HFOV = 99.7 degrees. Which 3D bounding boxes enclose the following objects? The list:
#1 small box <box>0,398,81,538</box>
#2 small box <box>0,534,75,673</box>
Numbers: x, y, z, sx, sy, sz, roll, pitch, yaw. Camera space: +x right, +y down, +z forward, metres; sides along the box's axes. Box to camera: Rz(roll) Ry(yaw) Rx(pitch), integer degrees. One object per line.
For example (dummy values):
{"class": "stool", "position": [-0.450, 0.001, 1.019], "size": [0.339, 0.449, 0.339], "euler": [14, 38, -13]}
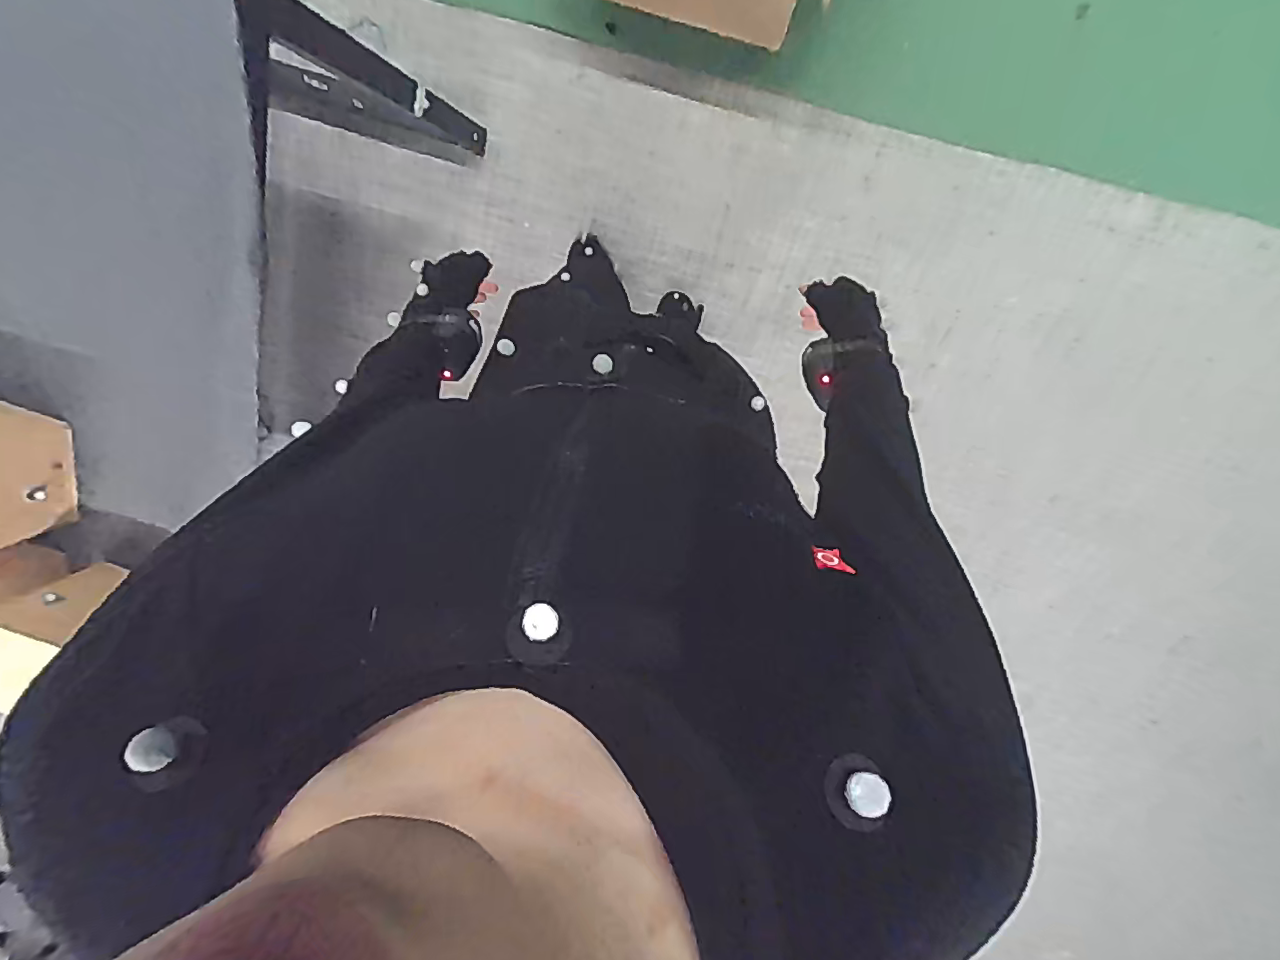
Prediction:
{"class": "small box", "position": [-0.955, -0.015, 0.758], "size": [0.179, 0.176, 0.168], "euler": [18, 111, -1]}
{"class": "small box", "position": [-1.043, 0.192, 0.842], "size": [0.179, 0.176, 0.168], "euler": [16, 111, 1]}
